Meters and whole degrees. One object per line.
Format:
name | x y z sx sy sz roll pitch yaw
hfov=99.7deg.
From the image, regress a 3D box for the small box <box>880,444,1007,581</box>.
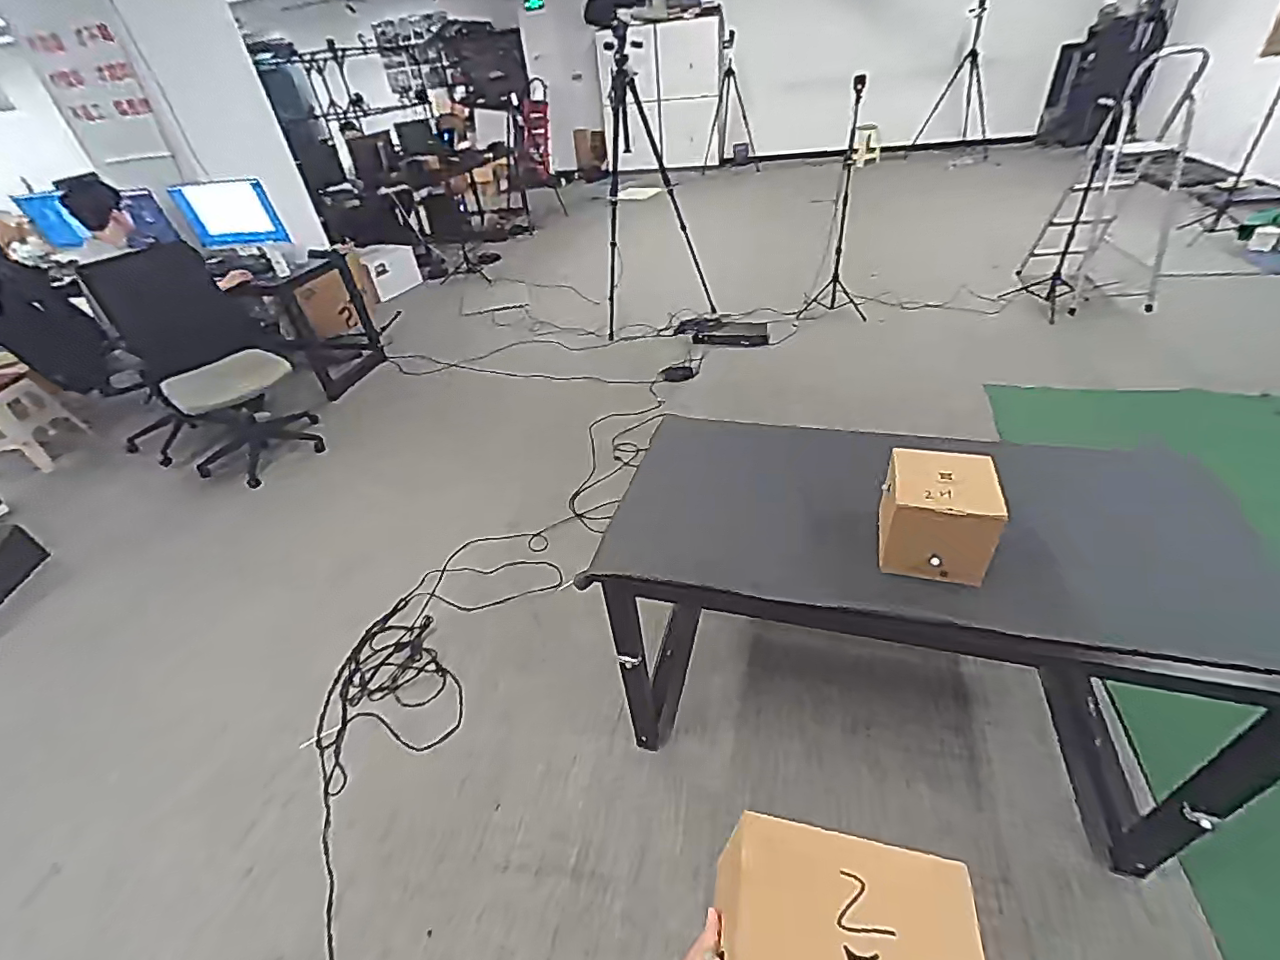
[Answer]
small box | 0.544 0.056 0.997 0.168 0.176 0.179 6 40 18
